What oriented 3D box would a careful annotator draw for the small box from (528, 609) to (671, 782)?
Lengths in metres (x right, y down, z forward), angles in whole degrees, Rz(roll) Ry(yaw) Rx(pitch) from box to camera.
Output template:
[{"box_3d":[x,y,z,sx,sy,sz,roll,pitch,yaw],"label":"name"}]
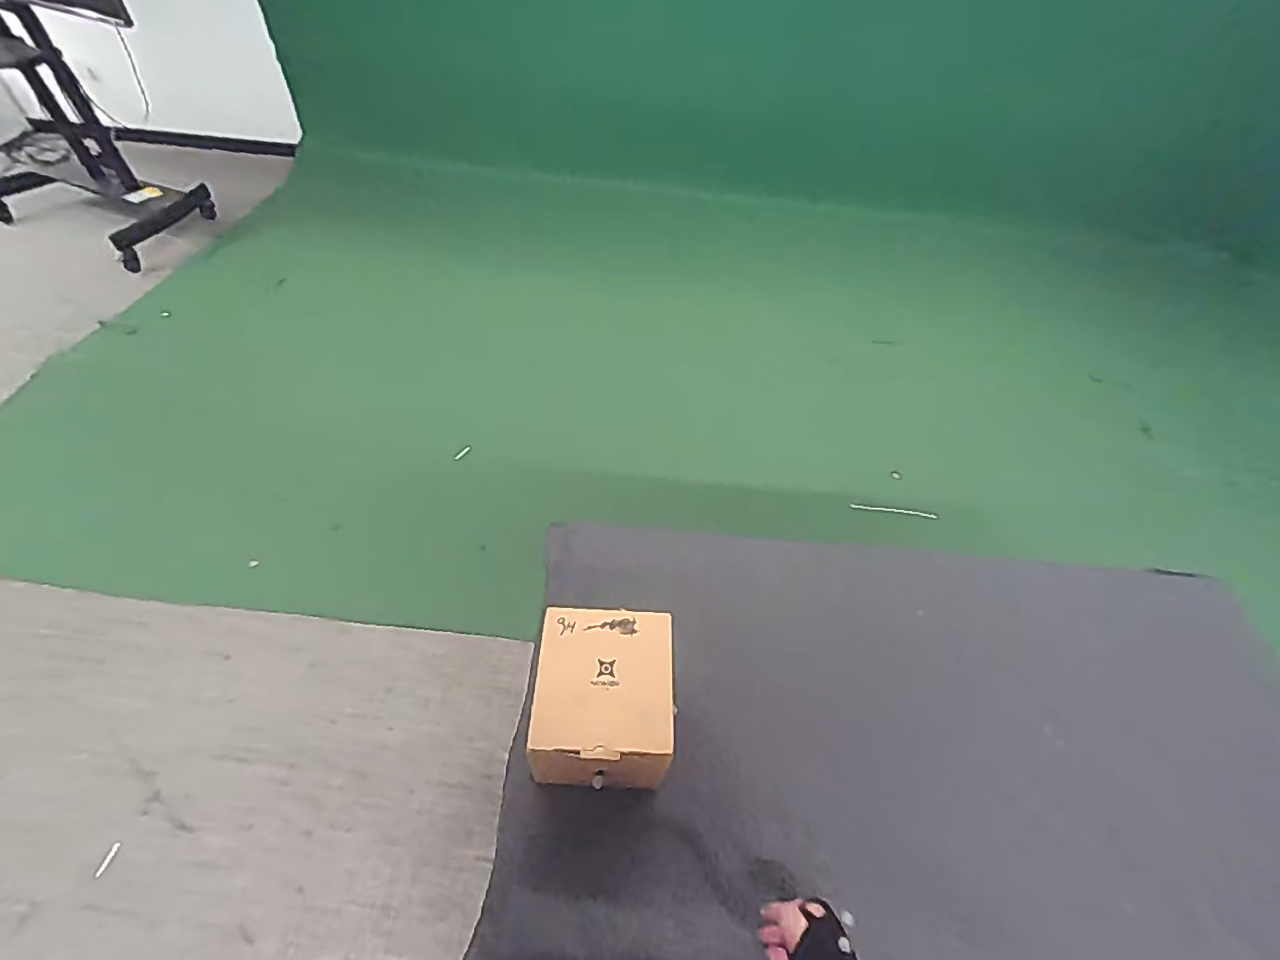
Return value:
[{"box_3d":[-0.048,0.293,0.725,0.168,0.176,0.179,4,51,-3],"label":"small box"}]
